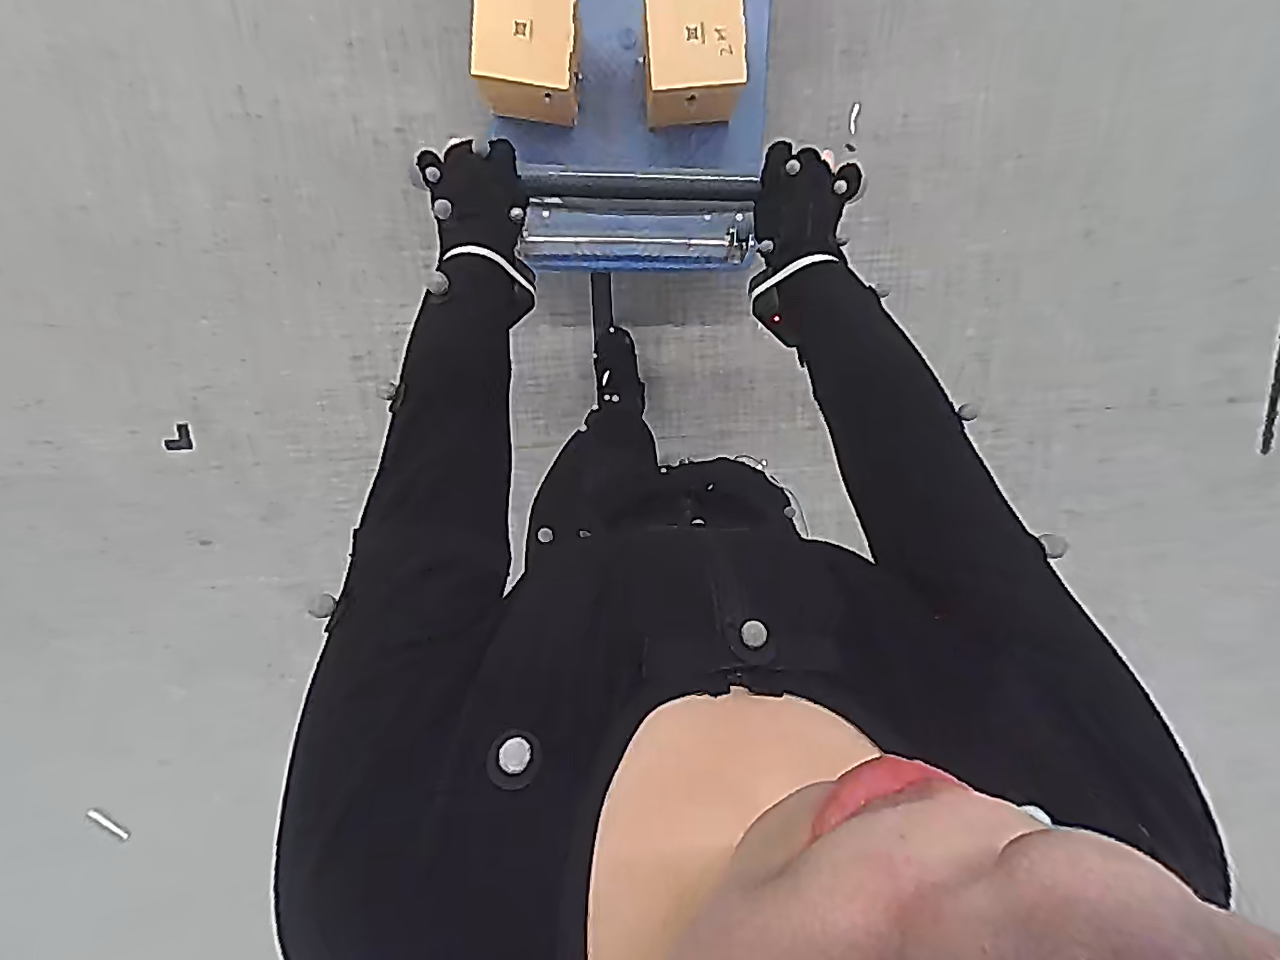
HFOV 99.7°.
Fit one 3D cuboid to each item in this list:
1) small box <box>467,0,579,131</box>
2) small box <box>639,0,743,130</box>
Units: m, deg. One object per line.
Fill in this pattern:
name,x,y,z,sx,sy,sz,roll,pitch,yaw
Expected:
small box,-0.213,-0.789,1.019,0.179,0.176,0.168,5,103,-5
small box,0.091,-0.791,1.028,0.179,0.176,0.168,-6,104,-1
